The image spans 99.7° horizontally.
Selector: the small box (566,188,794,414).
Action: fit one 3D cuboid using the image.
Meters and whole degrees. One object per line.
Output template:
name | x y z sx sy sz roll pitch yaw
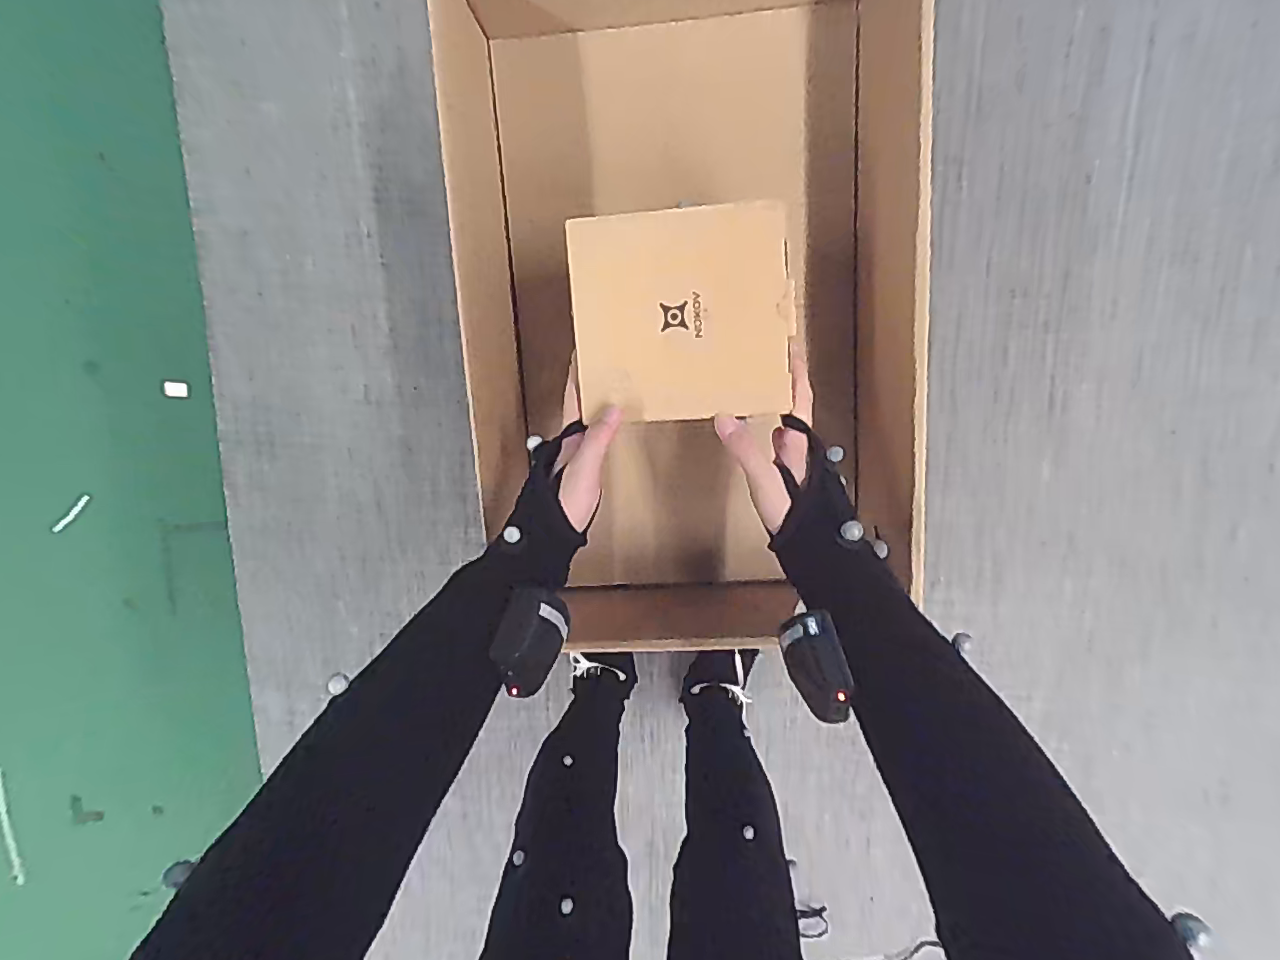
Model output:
small box | 0.038 -0.149 0.509 0.179 0.176 0.168 -4 98 4
